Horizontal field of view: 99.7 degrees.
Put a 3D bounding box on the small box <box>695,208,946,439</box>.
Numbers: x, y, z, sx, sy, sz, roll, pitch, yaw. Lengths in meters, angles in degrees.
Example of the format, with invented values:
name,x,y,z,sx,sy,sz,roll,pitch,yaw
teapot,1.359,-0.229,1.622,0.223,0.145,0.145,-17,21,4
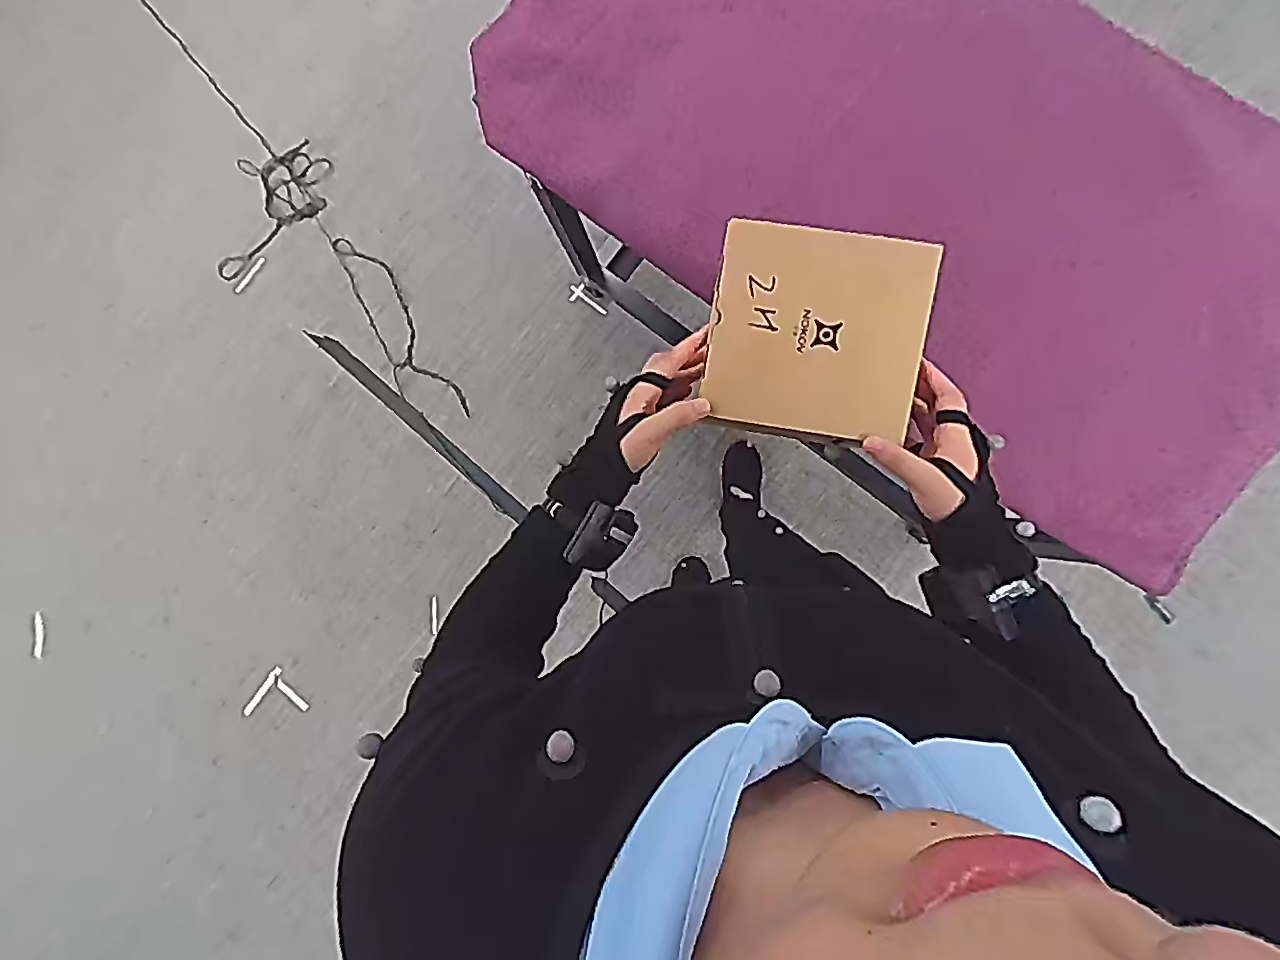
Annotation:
name,x,y,z,sx,sy,sz,roll,pitch,yaw
small box,0.153,-0.135,0.523,0.179,0.176,0.168,10,94,5
